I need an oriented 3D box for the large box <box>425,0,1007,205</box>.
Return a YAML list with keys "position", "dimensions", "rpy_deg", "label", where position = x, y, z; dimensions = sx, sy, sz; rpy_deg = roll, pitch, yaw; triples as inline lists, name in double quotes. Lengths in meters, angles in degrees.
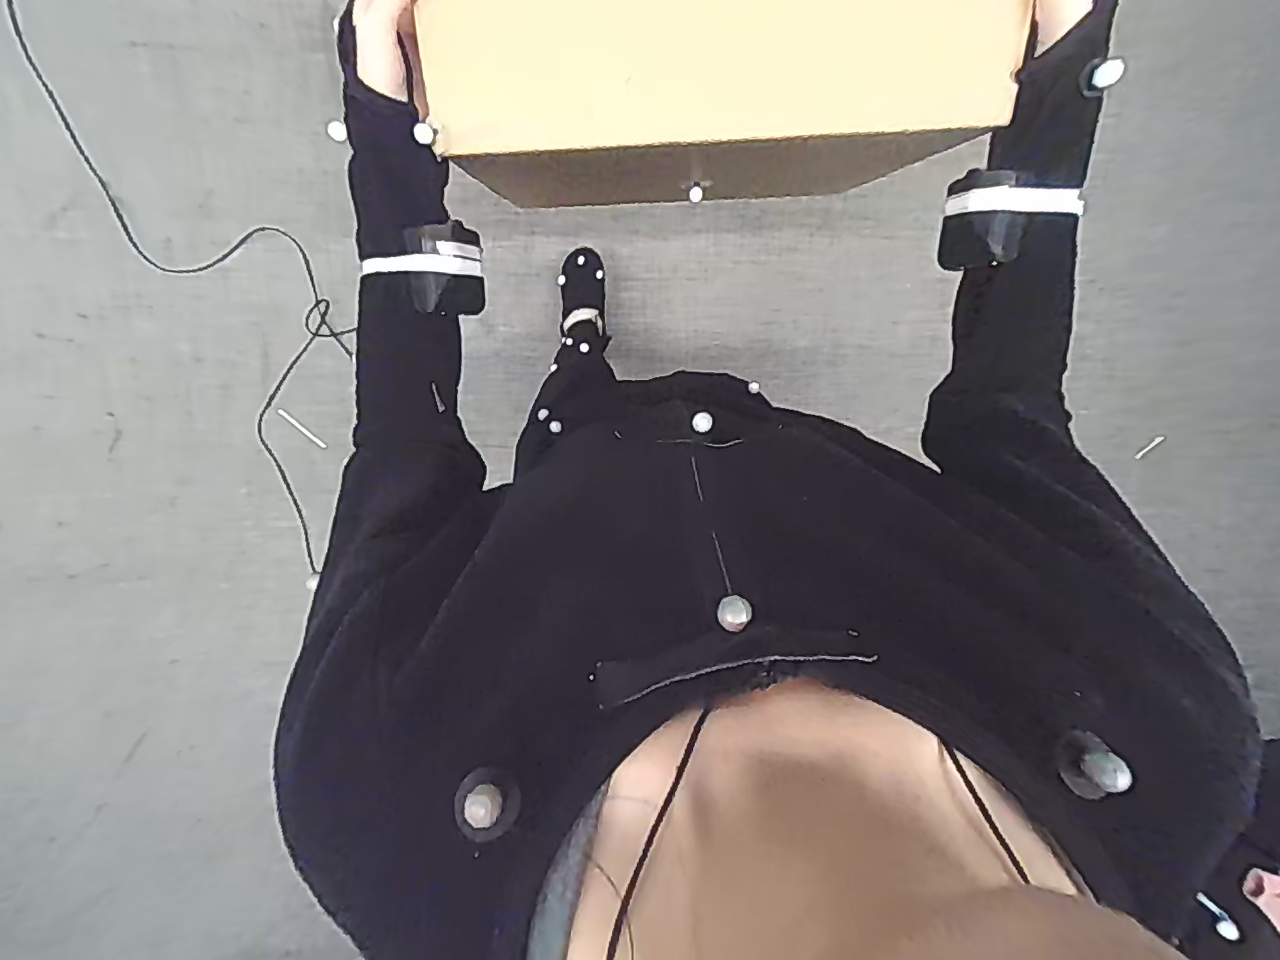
- position: [0.048, -0.445, 0.482]
  dimensions: [0.408, 0.320, 0.320]
  rpy_deg: [-3, 109, 1]
  label: "large box"
